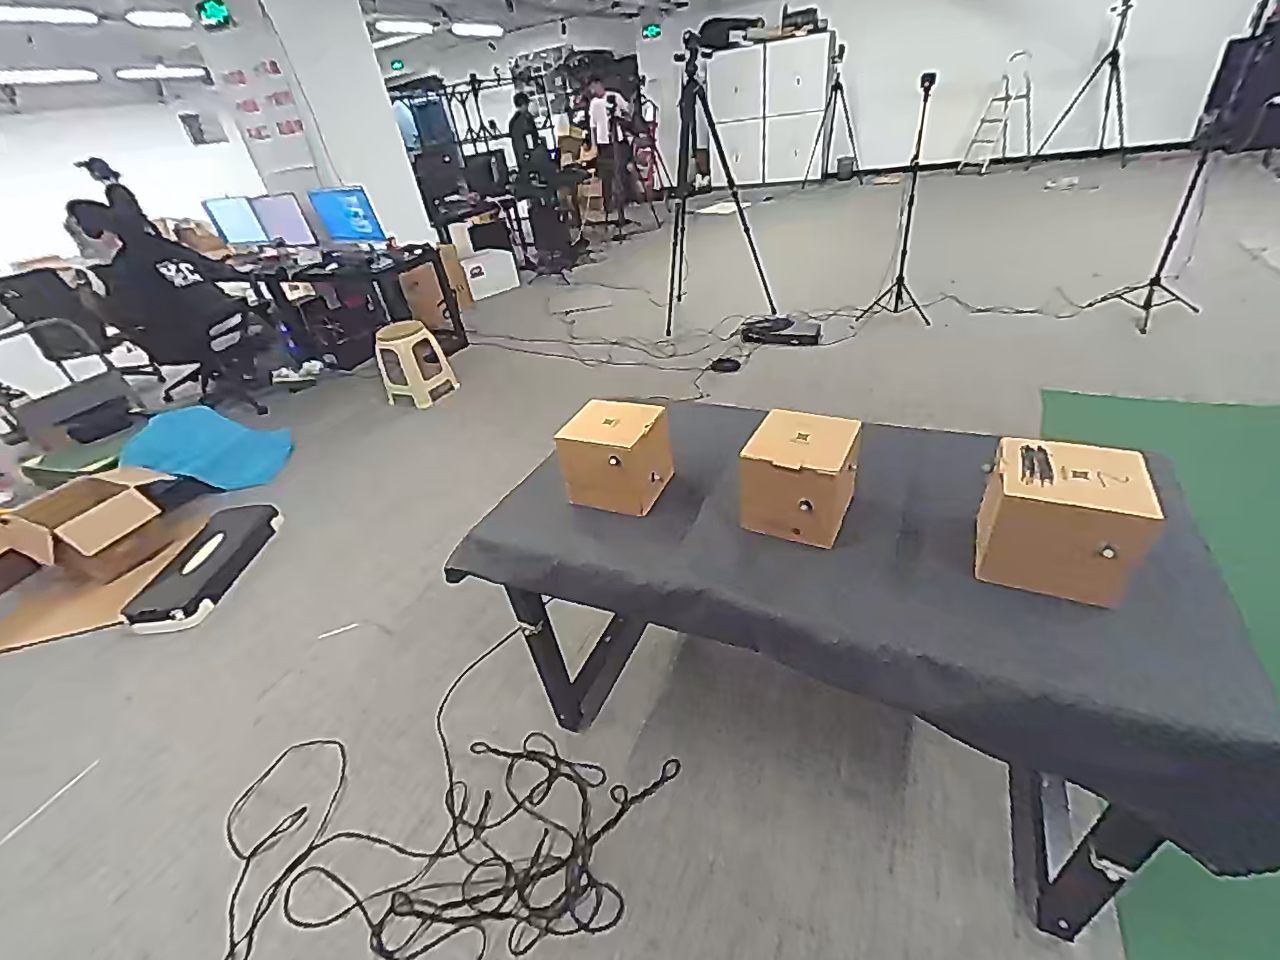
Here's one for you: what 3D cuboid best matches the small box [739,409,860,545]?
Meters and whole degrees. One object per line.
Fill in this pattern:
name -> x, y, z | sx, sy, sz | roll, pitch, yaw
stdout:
small box -> 0.289, -0.008, 0.985 | 0.168, 0.176, 0.179 | 14, 40, 27

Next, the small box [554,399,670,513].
small box -> -0.049, -0.051, 1.122 | 0.179, 0.176, 0.168 | 10, 38, 23
